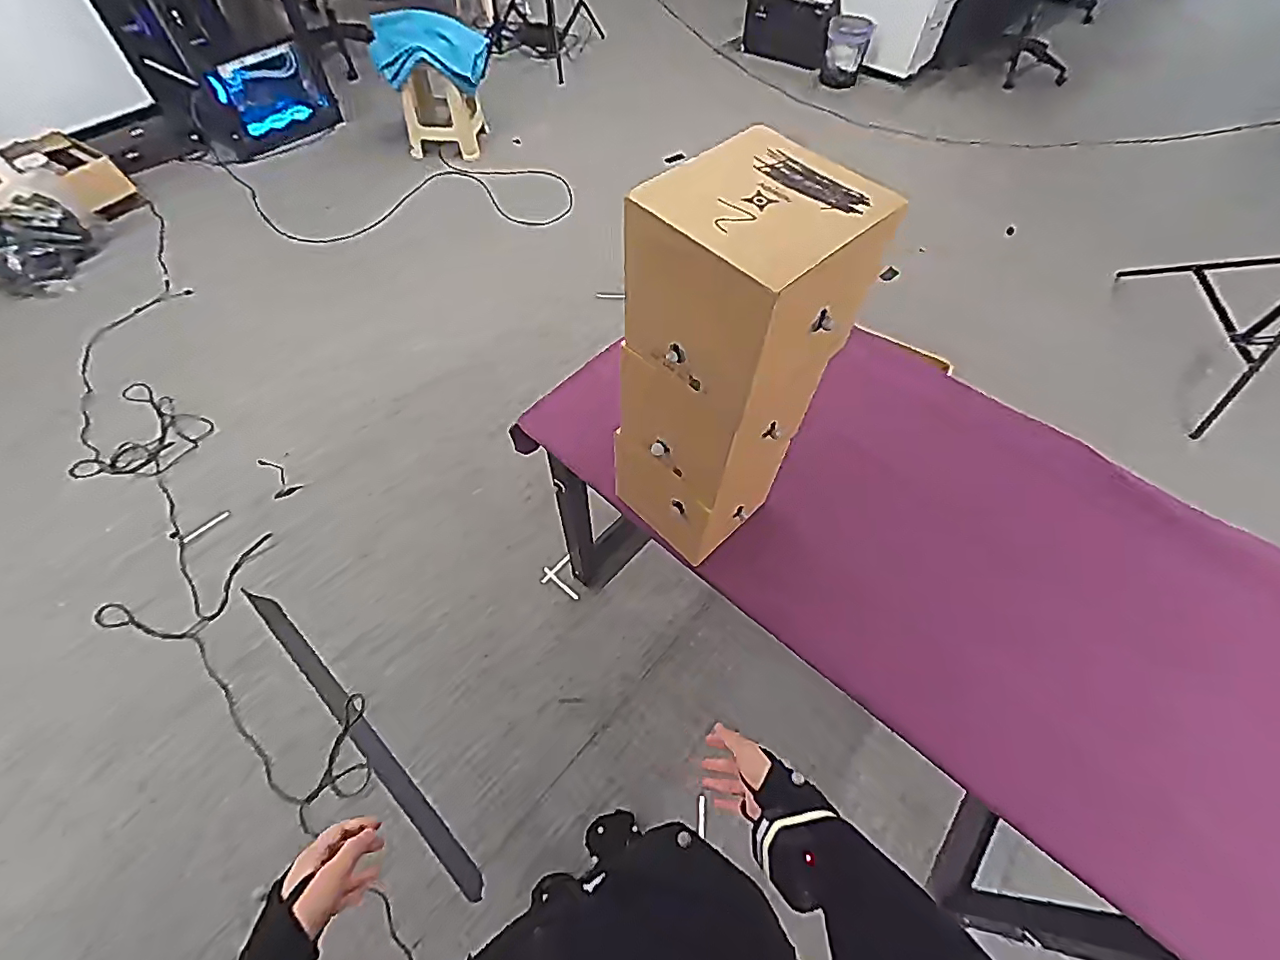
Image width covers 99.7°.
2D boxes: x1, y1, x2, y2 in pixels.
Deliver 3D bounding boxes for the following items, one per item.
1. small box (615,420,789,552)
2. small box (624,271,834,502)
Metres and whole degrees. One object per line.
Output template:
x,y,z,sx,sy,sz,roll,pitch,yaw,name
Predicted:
0.082,-0.017,0.788,0.168,0.176,0.179,-39,66,-23,small box
0.094,-0.108,0.652,0.168,0.176,0.179,40,66,22,small box
